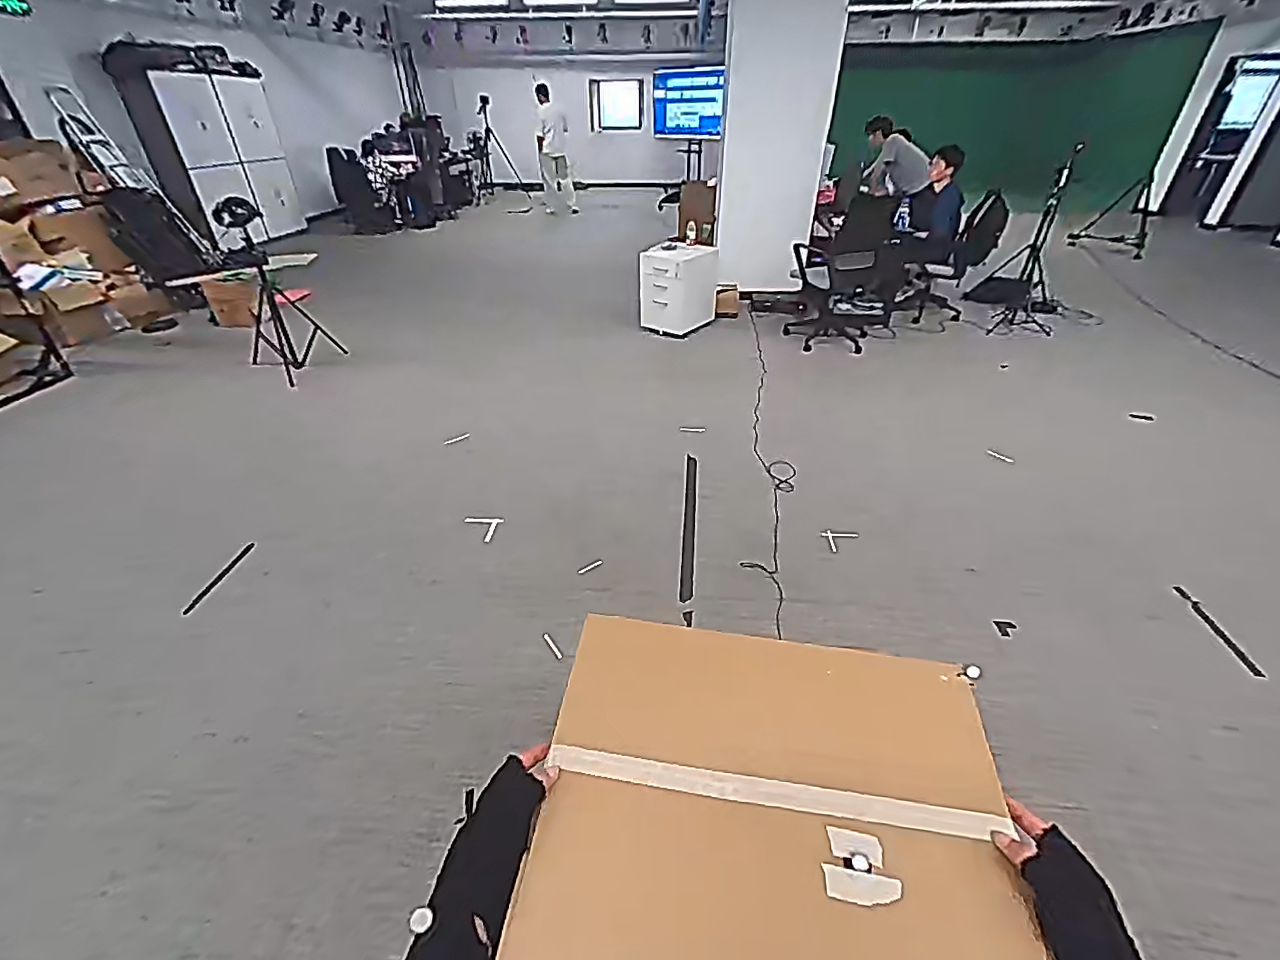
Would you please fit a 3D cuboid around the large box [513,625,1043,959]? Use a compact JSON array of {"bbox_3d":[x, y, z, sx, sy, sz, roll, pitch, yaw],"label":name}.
[{"bbox_3d":[0.115,0.396,0.585,0.408,0.320,0.320,7,43,6],"label":"large box"}]
